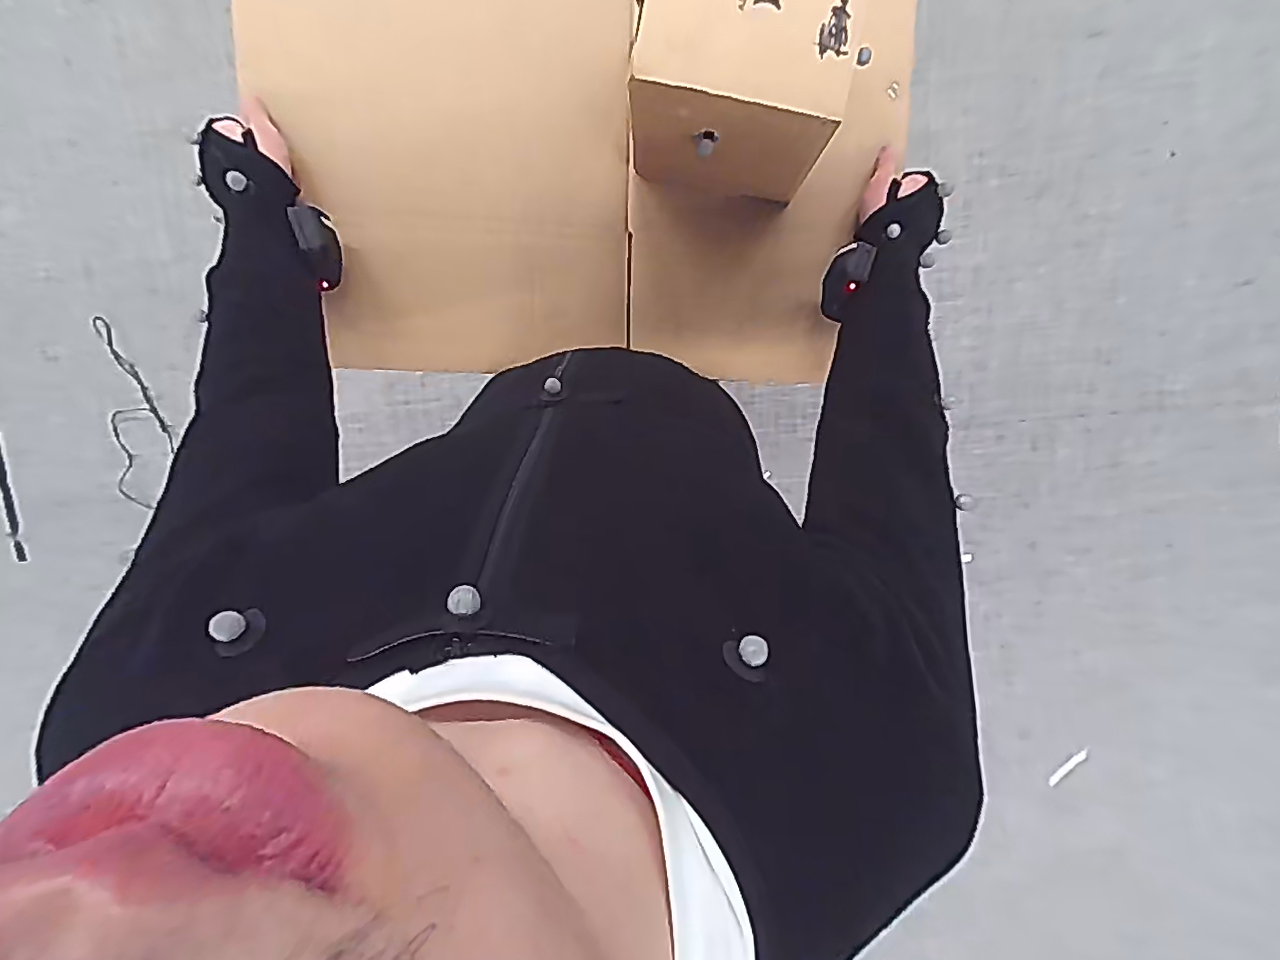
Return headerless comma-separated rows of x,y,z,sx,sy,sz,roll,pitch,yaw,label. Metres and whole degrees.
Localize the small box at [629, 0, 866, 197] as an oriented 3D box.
0.094,-0.392,0.507,0.179,0.176,0.168,11,97,1,small box
